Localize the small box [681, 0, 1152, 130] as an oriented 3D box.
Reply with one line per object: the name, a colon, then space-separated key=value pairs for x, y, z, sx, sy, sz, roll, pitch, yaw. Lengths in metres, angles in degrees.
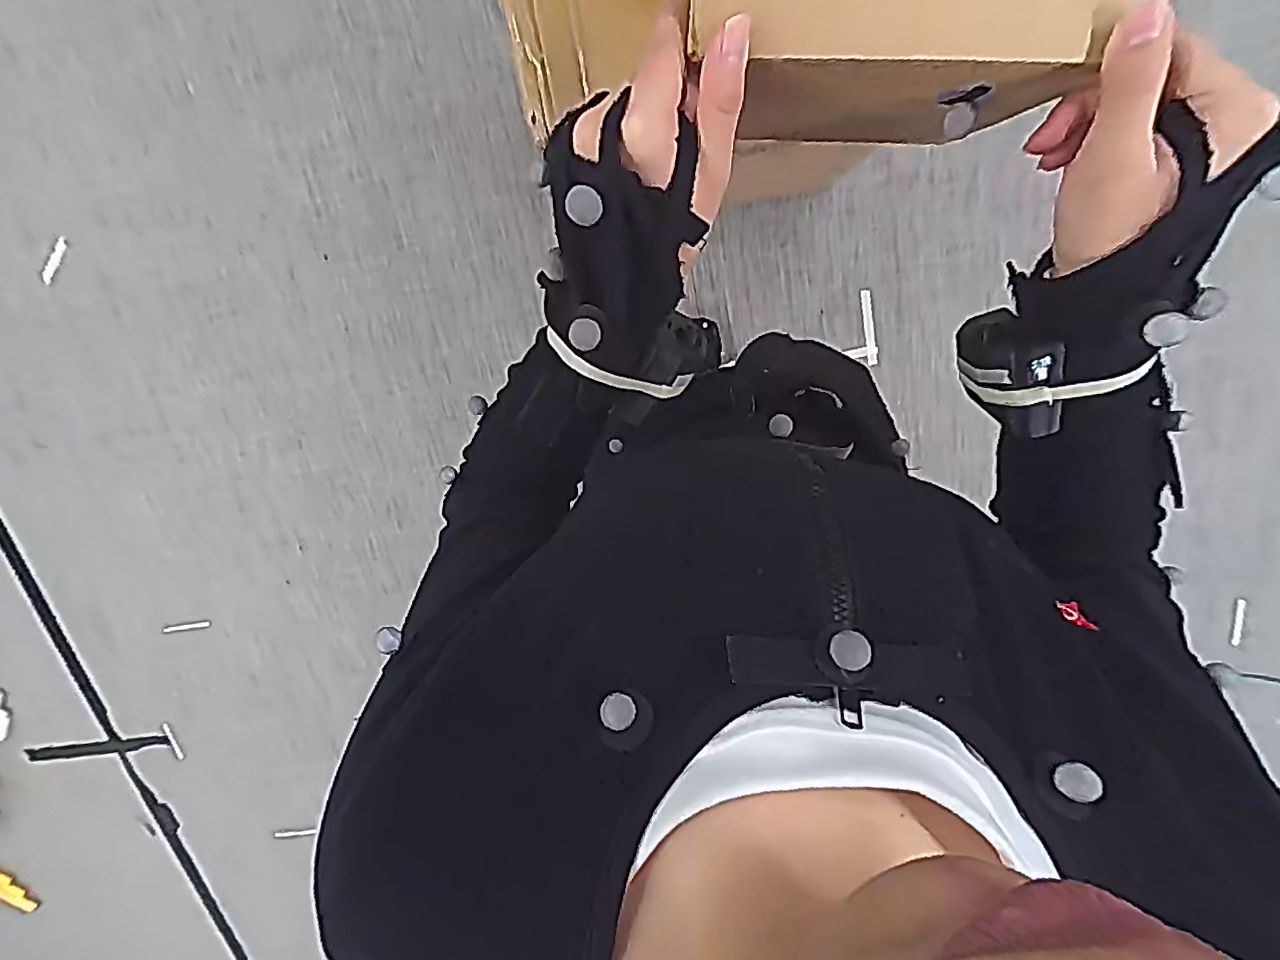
small box: x=0.113 y=-0.278 z=0.252 sx=0.179 sy=0.176 sz=0.168 roll=3 pitch=113 yaw=3
